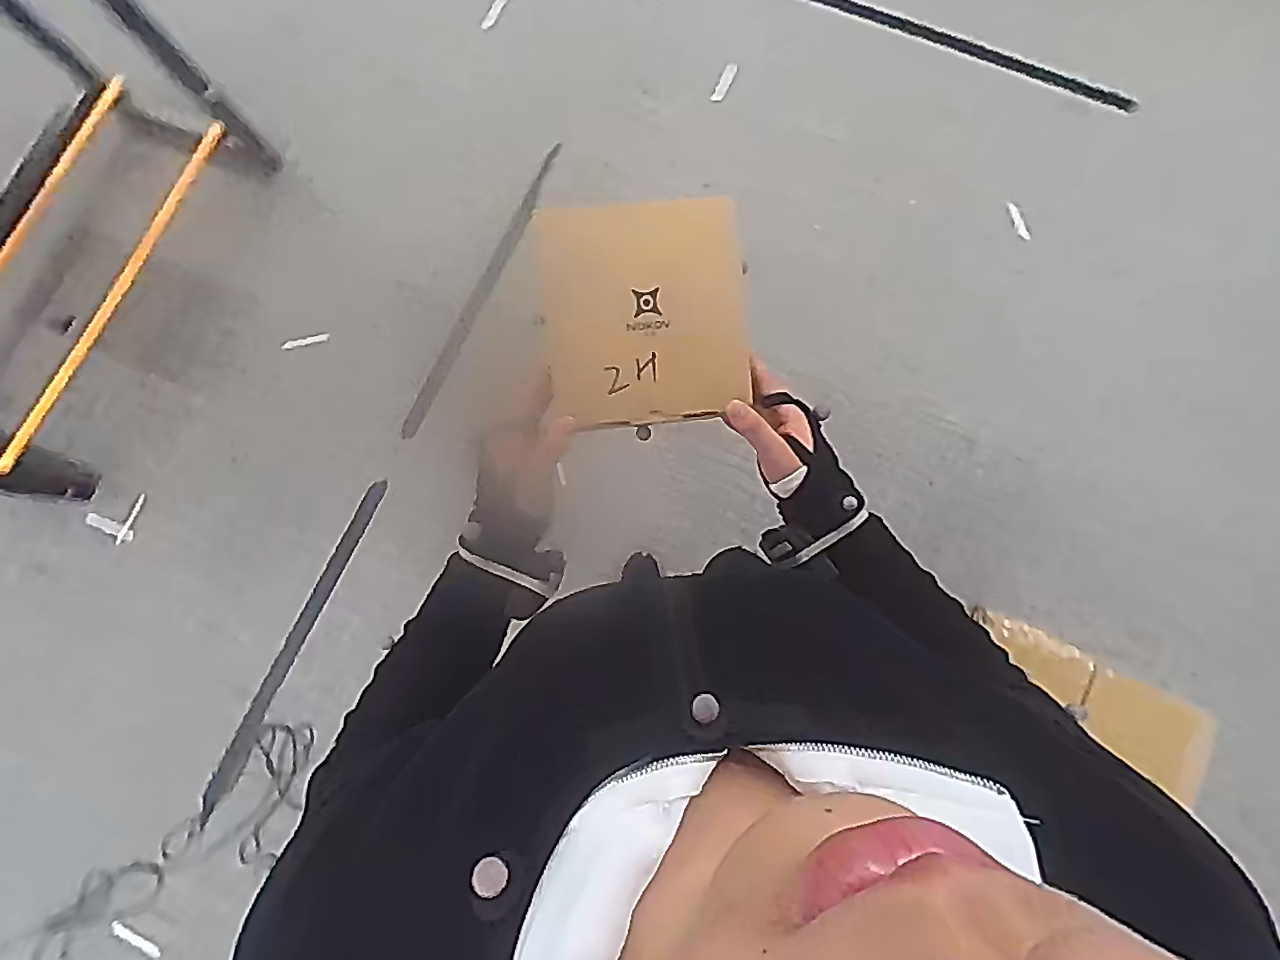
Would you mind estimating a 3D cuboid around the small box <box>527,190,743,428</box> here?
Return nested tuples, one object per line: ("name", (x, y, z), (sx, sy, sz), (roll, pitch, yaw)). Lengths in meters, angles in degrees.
("small box", (-0.009, -0.148, 0.521), (0.168, 0.176, 0.179), (-7, 94, -4))

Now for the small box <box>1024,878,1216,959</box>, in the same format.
("small box", (0.541, 0.574, 0.567), (0.168, 0.176, 0.179), (25, 81, 6))
